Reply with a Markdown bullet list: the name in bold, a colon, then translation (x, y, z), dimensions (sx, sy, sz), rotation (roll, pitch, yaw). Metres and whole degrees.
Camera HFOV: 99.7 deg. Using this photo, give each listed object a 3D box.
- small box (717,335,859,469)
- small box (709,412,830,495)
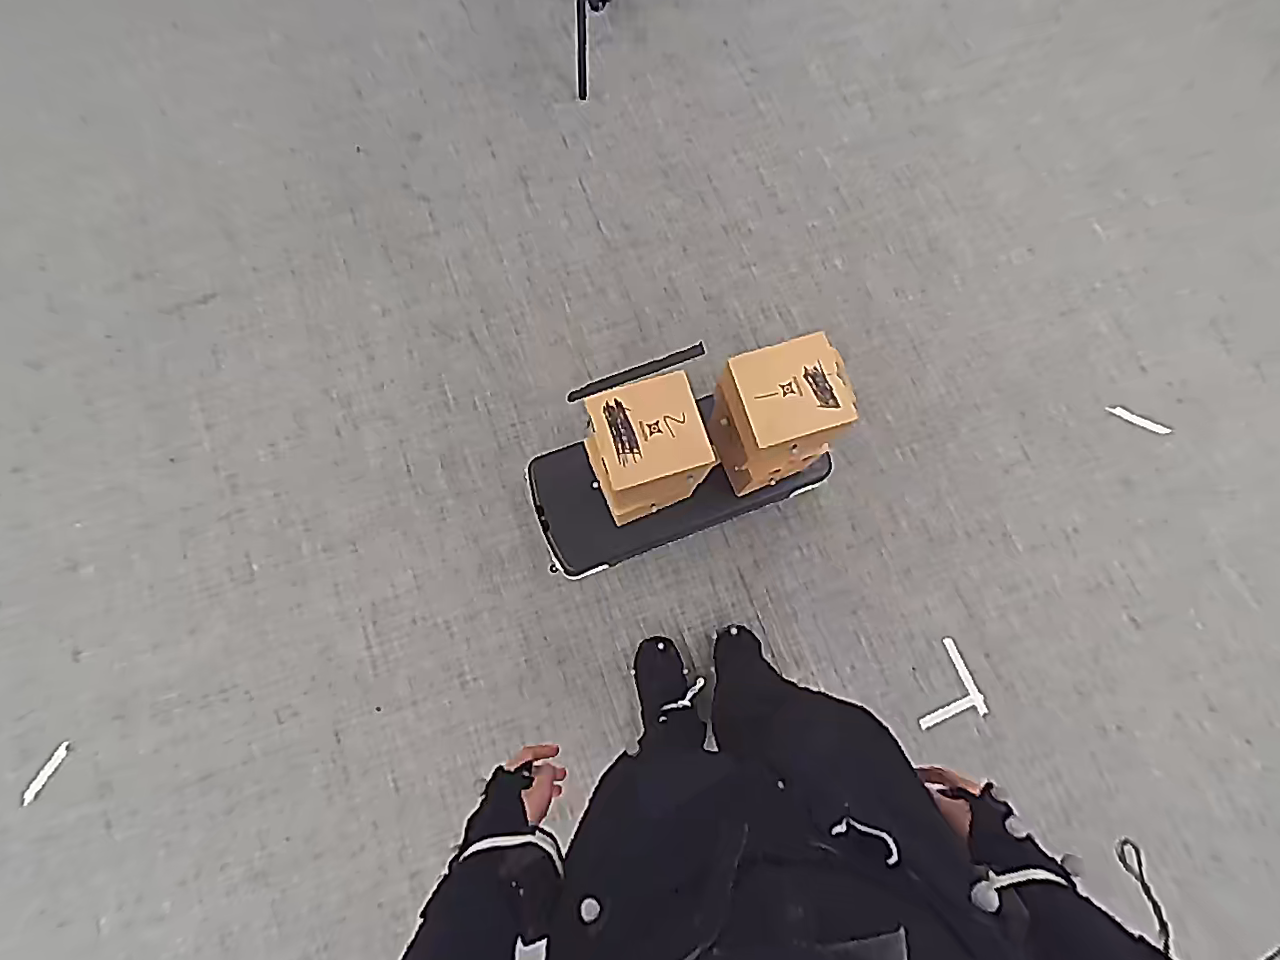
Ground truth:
- **small box**: translation (0.253, -0.131, 0.969), dimensions (0.179, 0.176, 0.168), rotation (-17, 79, -4)
- **small box**: translation (0.258, -0.086, 1.127), dimensions (0.168, 0.176, 0.179), rotation (-22, 80, -6)
